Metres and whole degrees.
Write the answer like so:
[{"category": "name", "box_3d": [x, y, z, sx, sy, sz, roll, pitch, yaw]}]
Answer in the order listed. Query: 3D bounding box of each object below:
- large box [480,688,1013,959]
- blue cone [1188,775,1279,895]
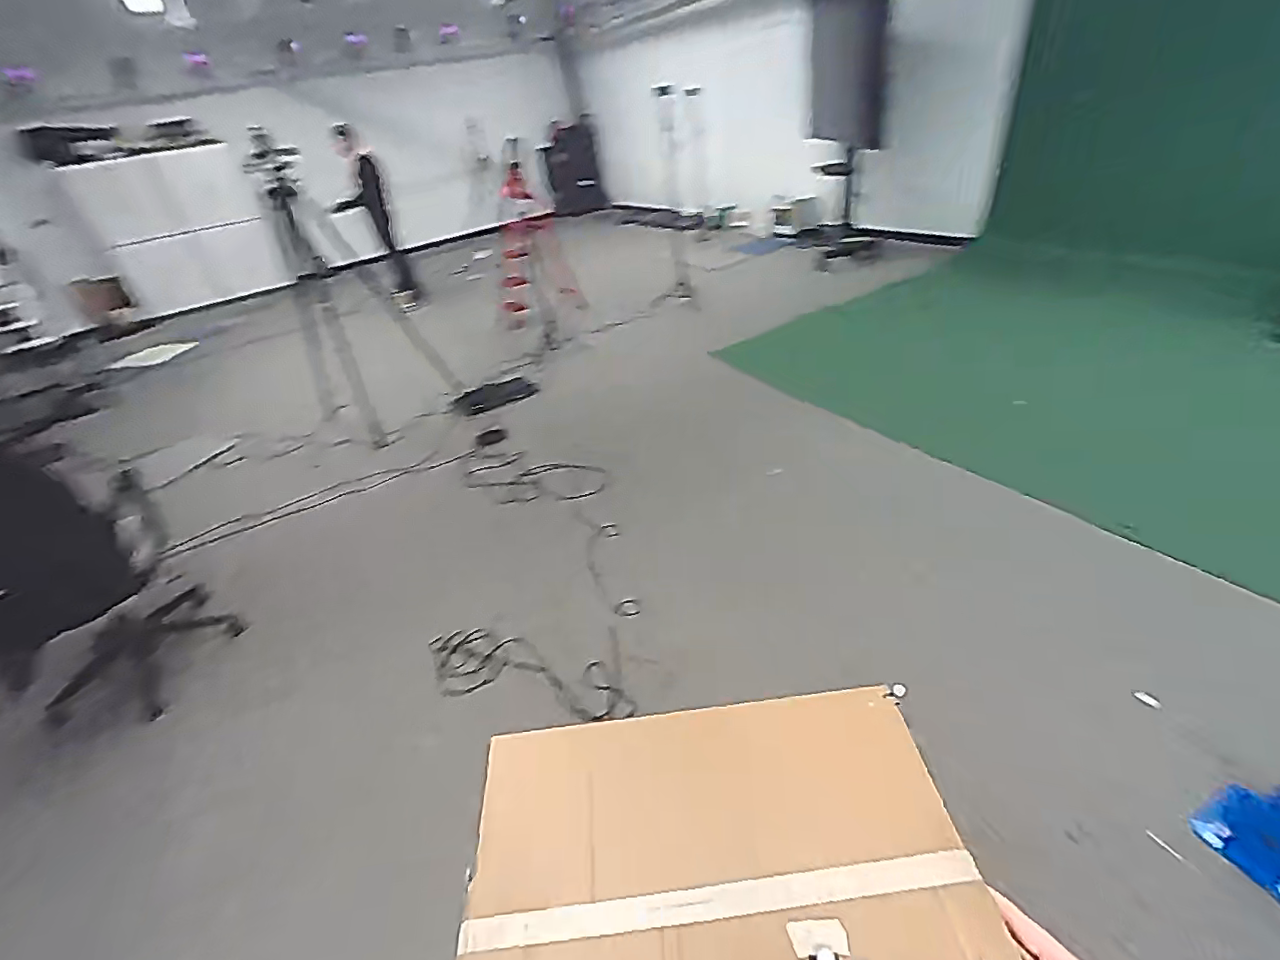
[{"category": "large box", "box_3d": [0.080, 0.447, 0.531, 0.408, 0.320, 0.320, -6, 40, 0]}, {"category": "blue cone", "box_3d": [1.366, 0.675, 1.125, 0.192, 0.380, 0.193, -20, 36, -15]}]
